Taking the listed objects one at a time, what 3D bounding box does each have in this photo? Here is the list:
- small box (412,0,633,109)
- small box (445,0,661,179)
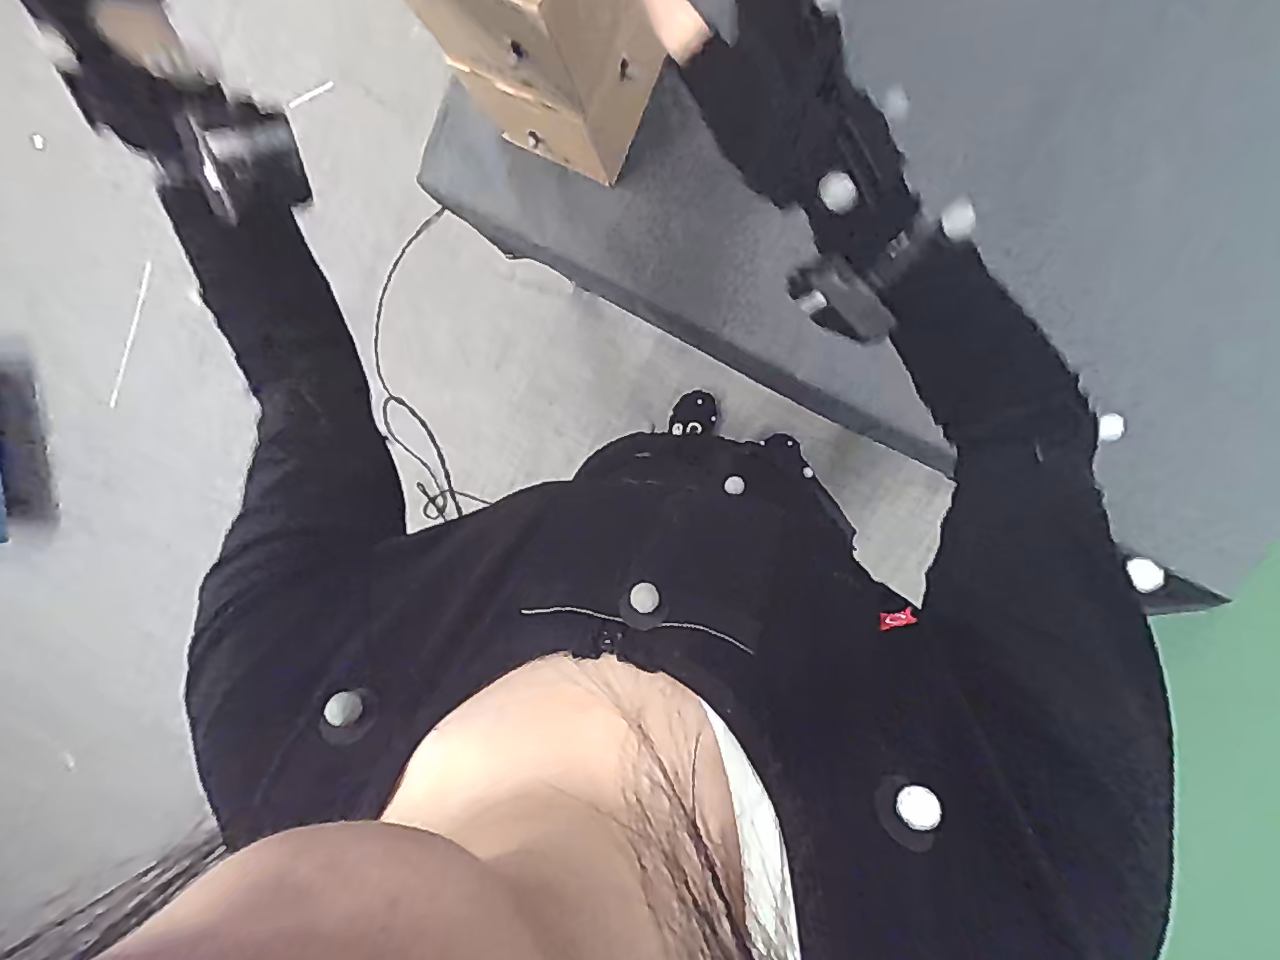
[{"bbox_3d":[-0.099,-0.461,0.451,0.168,0.176,0.179,26,101,1],"label":"small box"},{"bbox_3d":[-0.083,-0.485,0.611,0.168,0.176,0.179,26,102,2],"label":"small box"}]
